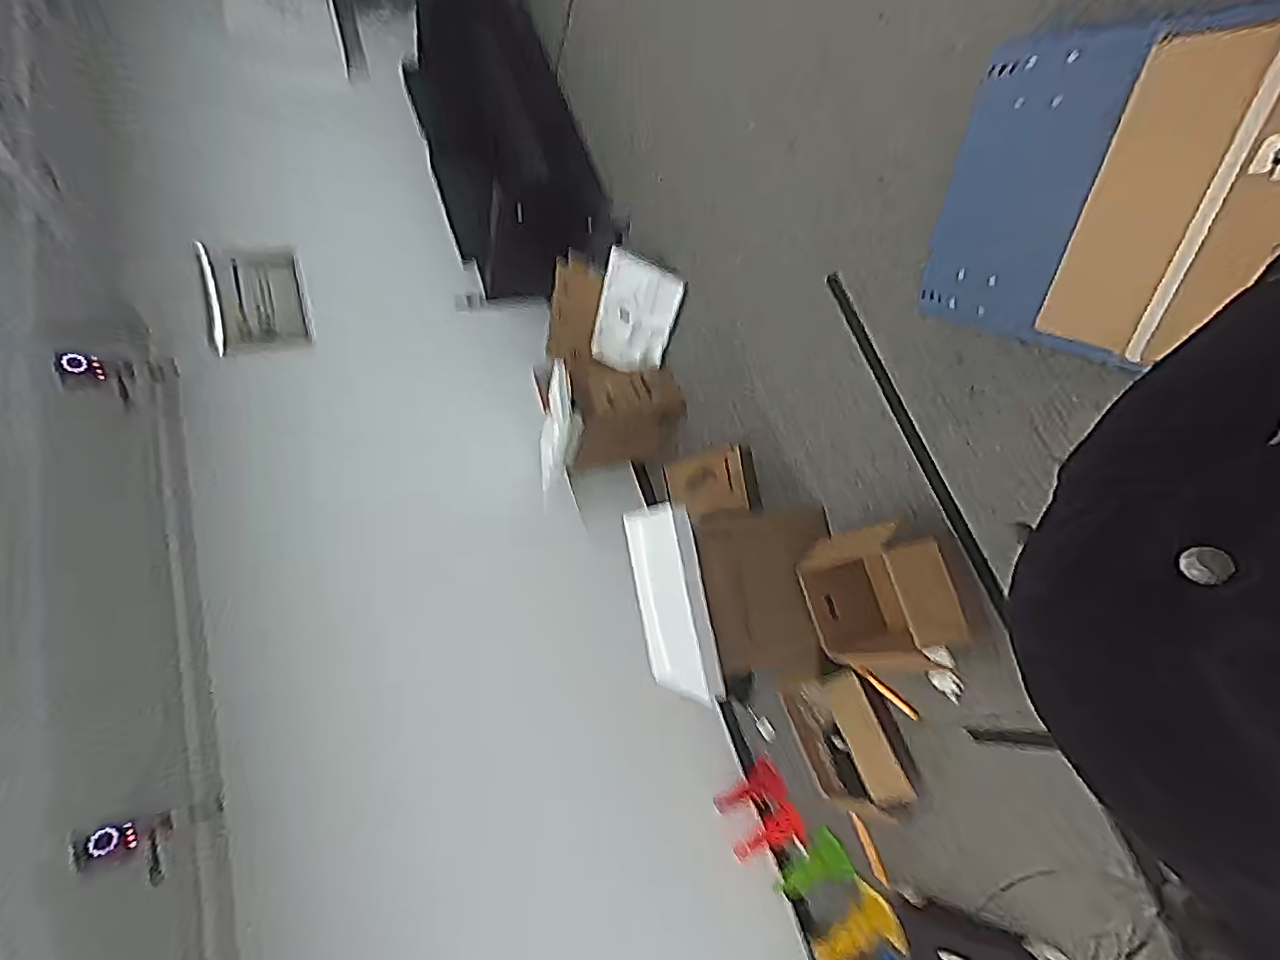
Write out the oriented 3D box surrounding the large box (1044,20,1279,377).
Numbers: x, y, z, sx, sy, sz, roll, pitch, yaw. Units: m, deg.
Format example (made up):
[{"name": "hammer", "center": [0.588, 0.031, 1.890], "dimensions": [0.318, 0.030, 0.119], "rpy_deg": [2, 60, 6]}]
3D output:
[{"name": "large box", "center": [0.909, -0.397, 0.790], "dimensions": [0.320, 0.320, 0.408], "rpy_deg": [45, 139, 50]}]
